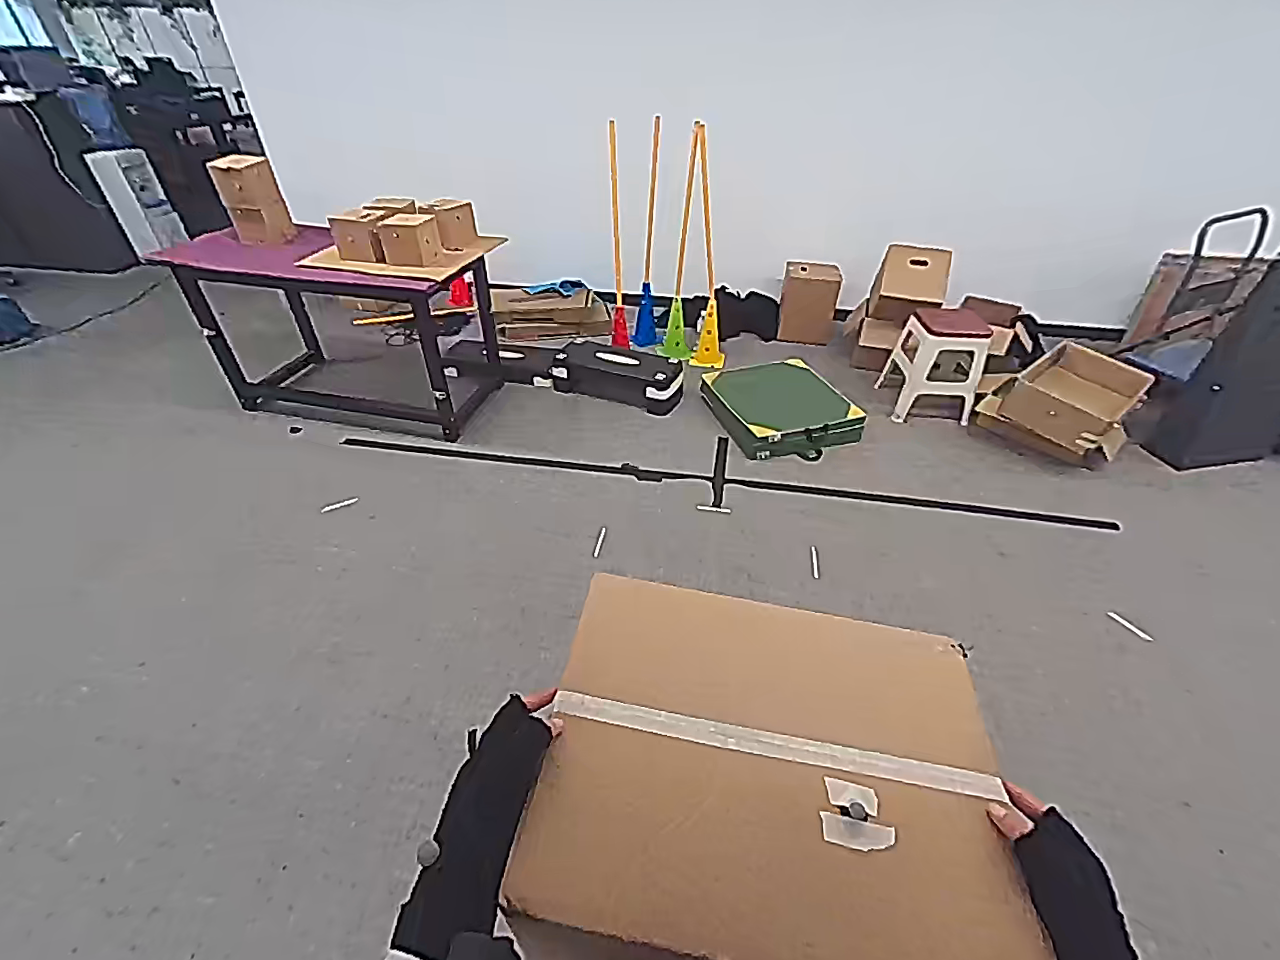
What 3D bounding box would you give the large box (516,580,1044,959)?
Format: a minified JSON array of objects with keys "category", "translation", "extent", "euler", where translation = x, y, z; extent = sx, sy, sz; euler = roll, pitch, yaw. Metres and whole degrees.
[{"category":"large box","translation":[0.110,0.353,0.600],"extent":[0.408,0.320,0.320],"euler":[10,43,4]}]
